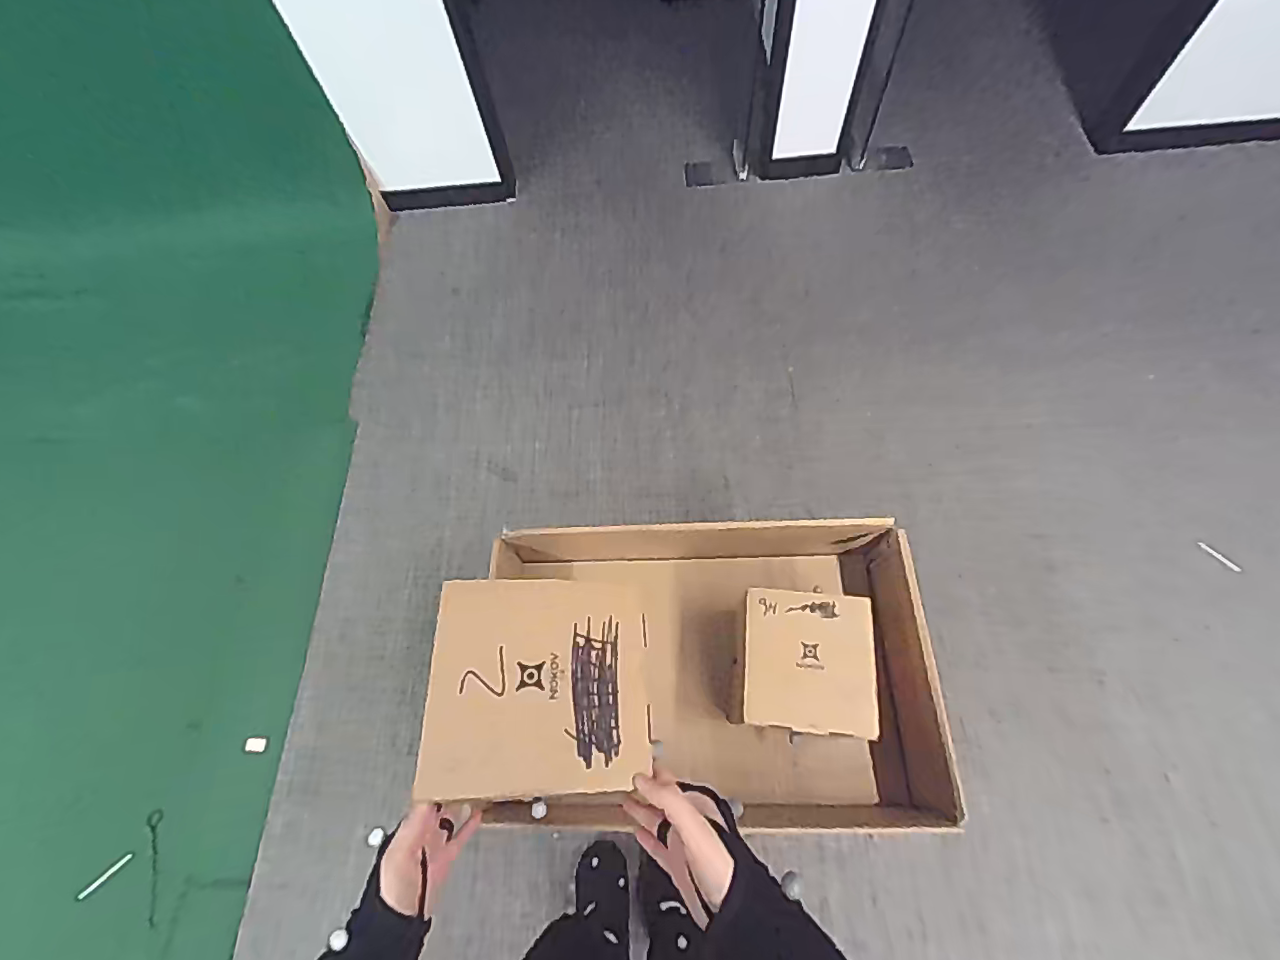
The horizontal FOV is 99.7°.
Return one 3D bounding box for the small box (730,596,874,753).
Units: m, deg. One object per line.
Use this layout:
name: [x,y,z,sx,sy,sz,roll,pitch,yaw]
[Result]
small box: [0.220,0.277,0.770,0.168,0.176,0.179,5,66,5]
